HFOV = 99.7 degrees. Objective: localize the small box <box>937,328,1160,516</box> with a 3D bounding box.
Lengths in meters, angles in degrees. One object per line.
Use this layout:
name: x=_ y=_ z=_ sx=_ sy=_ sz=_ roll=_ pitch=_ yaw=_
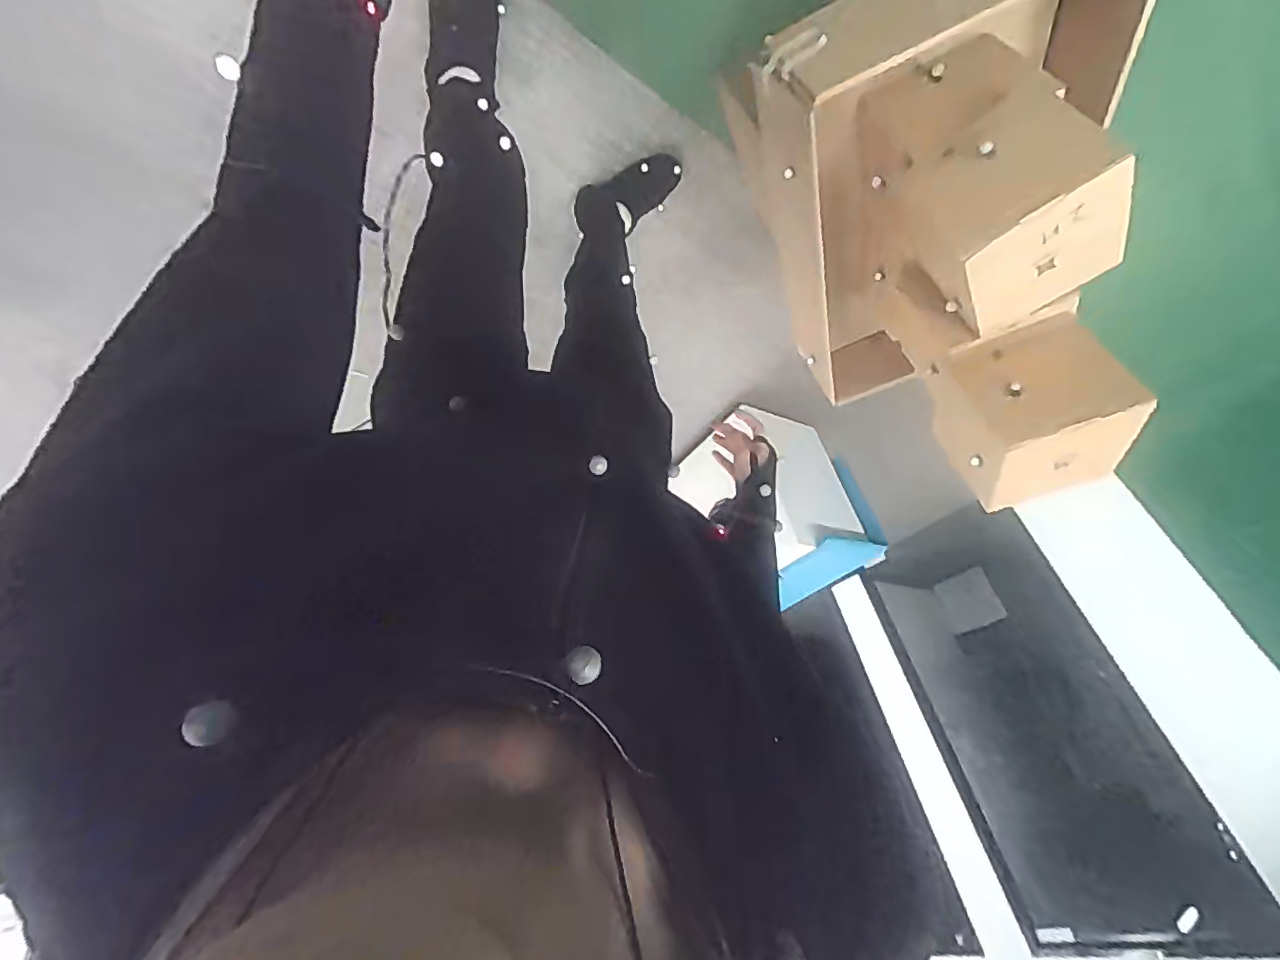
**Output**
small box: x=0.532 y=-0.082 z=0.740 sx=0.168 sy=0.176 sz=0.179 roll=-20 pitch=144 yaw=11
